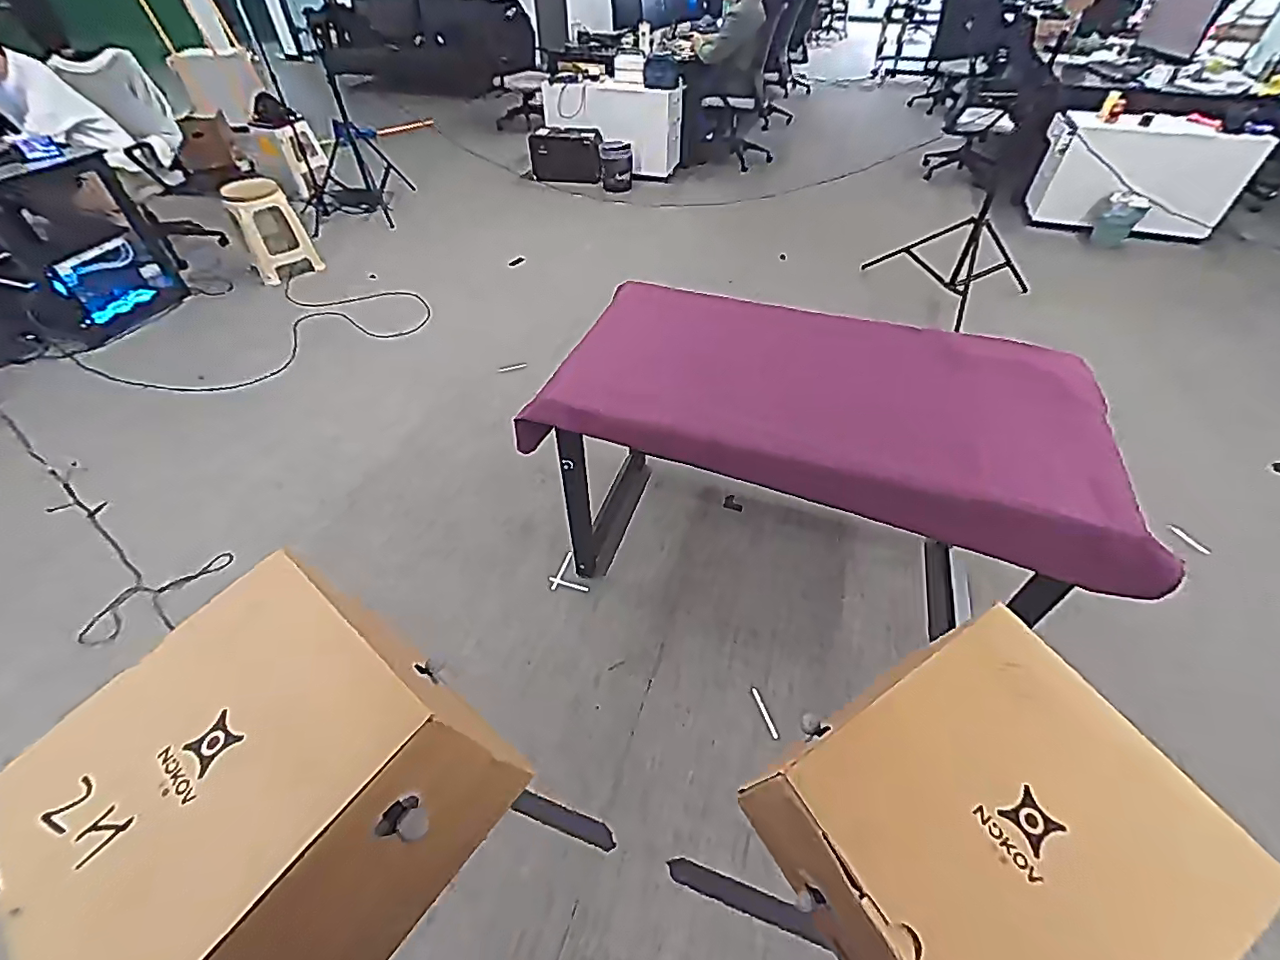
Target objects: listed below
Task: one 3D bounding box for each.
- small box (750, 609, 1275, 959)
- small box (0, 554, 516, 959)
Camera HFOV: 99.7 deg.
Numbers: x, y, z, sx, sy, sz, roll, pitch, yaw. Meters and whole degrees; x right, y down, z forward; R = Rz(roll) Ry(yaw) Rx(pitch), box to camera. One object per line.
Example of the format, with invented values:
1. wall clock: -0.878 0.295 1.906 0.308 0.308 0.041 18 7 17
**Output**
1. small box: 0.191 0.215 0.338 0.179 0.176 0.168 -29 61 -16
2. small box: -0.199 0.186 0.332 0.168 0.176 0.179 29 63 29
